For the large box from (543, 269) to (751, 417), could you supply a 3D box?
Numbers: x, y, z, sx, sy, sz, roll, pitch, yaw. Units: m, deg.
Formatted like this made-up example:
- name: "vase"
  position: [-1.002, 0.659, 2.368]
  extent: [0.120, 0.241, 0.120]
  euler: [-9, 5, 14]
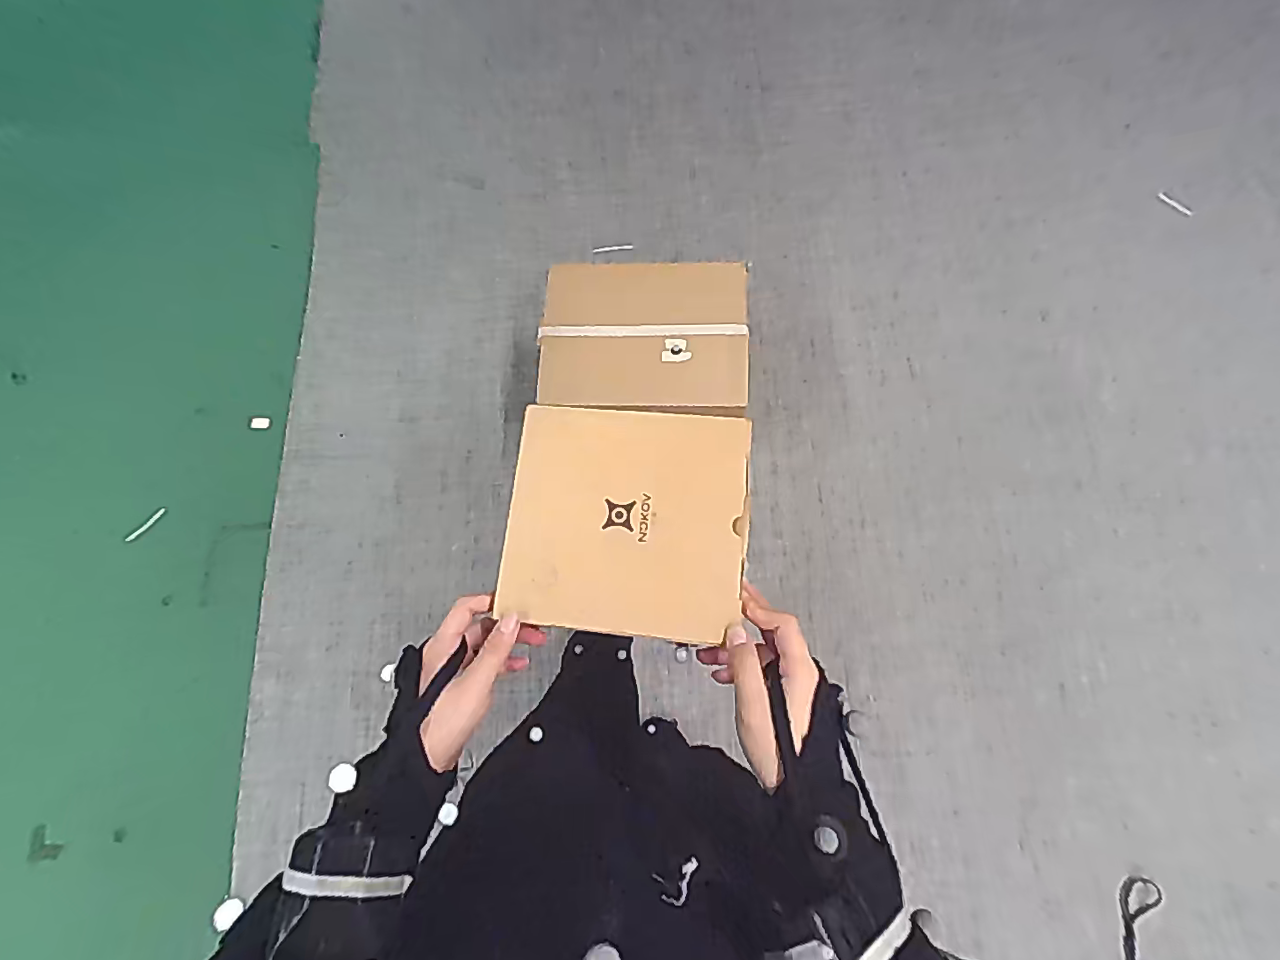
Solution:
- name: "large box"
  position: [0.021, -0.240, 1.200]
  extent: [0.408, 0.320, 0.320]
  euler: [1, 75, 4]

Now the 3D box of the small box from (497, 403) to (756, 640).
- name: "small box"
  position: [-0.001, 0.046, 0.471]
  extent: [0.179, 0.176, 0.168]
  euler: [5, 74, 6]
